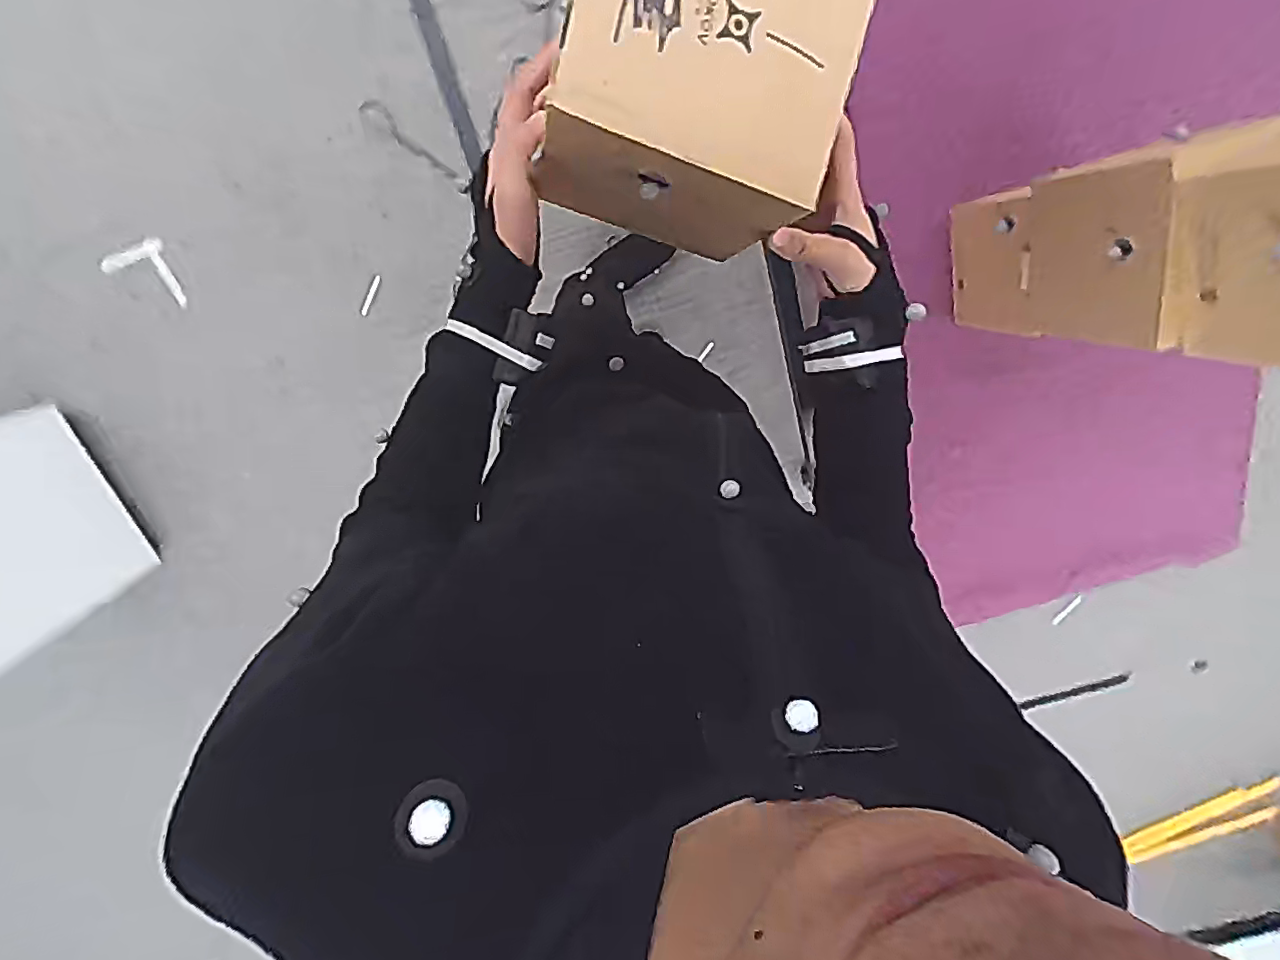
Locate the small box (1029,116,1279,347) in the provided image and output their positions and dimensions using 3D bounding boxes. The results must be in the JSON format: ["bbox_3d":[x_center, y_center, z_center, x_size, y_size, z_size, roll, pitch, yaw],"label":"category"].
[{"bbox_3d":[0.545,-0.253,0.563,0.168,0.176,0.179,-15,112,2],"label":"small box"}]

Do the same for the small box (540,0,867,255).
[{"bbox_3d":[0.029,-0.281,0.391,0.179,0.176,0.168,12,98,-15],"label":"small box"}]

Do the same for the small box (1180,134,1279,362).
[{"bbox_3d":[0.573,-0.193,0.414,0.179,0.176,0.168,-23,111,4],"label":"small box"}]
